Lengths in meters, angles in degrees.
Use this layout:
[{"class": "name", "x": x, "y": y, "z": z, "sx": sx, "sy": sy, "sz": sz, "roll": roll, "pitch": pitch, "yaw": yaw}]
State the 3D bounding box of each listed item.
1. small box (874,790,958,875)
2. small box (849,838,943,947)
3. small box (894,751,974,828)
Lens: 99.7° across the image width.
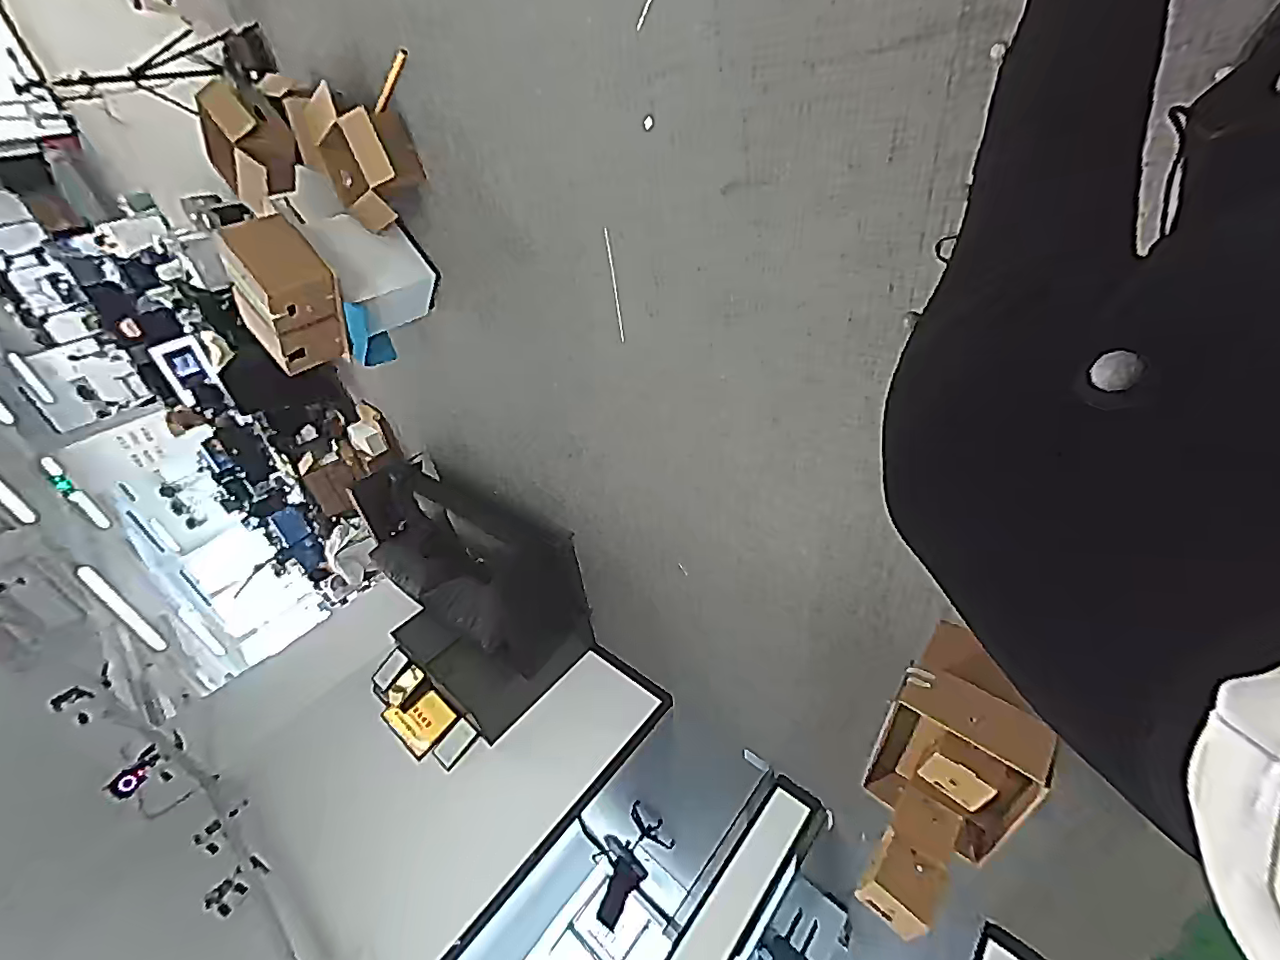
[{"class": "small box", "x": 0.846, "y": 1.102, "z": 1.657, "sx": 0.168, "sy": 0.176, "sz": 0.179, "roll": 25, "pitch": 135, "yaw": 35}, {"class": "small box", "x": 0.741, "y": 1.186, "z": 1.562, "sx": 0.168, "sy": 0.176, "sz": 0.179, "roll": 32, "pitch": 138, "yaw": 28}, {"class": "small box", "x": 0.953, "y": 1.027, "z": 1.752, "sx": 0.168, "sy": 0.176, "sz": 0.179, "roll": 25, "pitch": 135, "yaw": 34}]
